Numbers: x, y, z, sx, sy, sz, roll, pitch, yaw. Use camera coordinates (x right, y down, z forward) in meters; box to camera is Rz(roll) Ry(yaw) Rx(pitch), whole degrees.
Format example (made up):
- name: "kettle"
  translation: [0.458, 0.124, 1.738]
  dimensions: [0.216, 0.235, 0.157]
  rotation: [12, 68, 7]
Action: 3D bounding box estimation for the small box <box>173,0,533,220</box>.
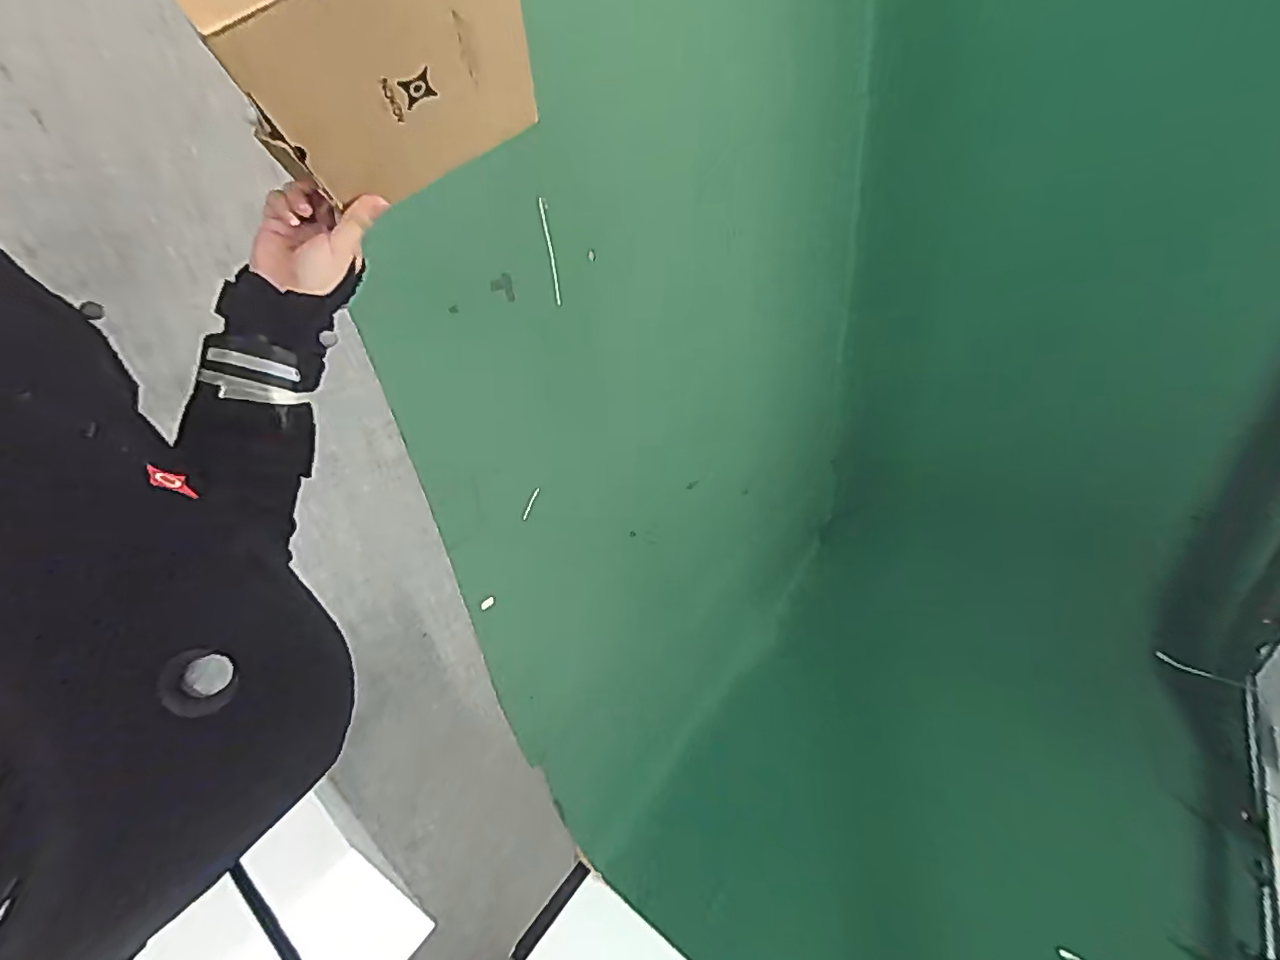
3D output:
- name: "small box"
  translation: [-0.196, -0.321, 0.351]
  dimensions: [0.179, 0.176, 0.168]
  rotation: [-36, 179, -7]
